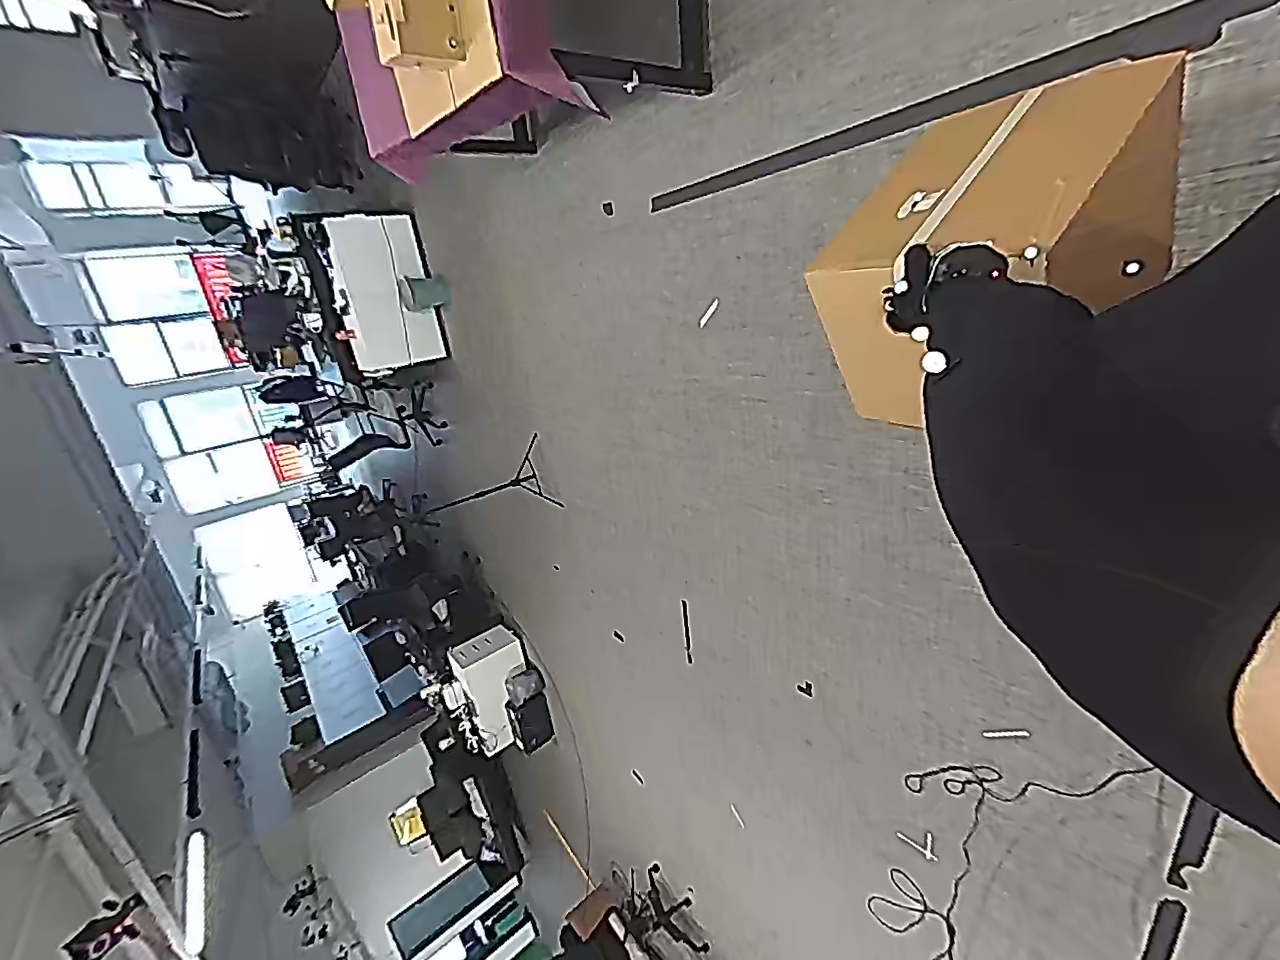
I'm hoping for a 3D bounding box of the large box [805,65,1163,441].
[{"bbox_3d":[0.536,-0.327,0.843,0.320,0.408,0.320,21,157,52],"label":"large box"}]
